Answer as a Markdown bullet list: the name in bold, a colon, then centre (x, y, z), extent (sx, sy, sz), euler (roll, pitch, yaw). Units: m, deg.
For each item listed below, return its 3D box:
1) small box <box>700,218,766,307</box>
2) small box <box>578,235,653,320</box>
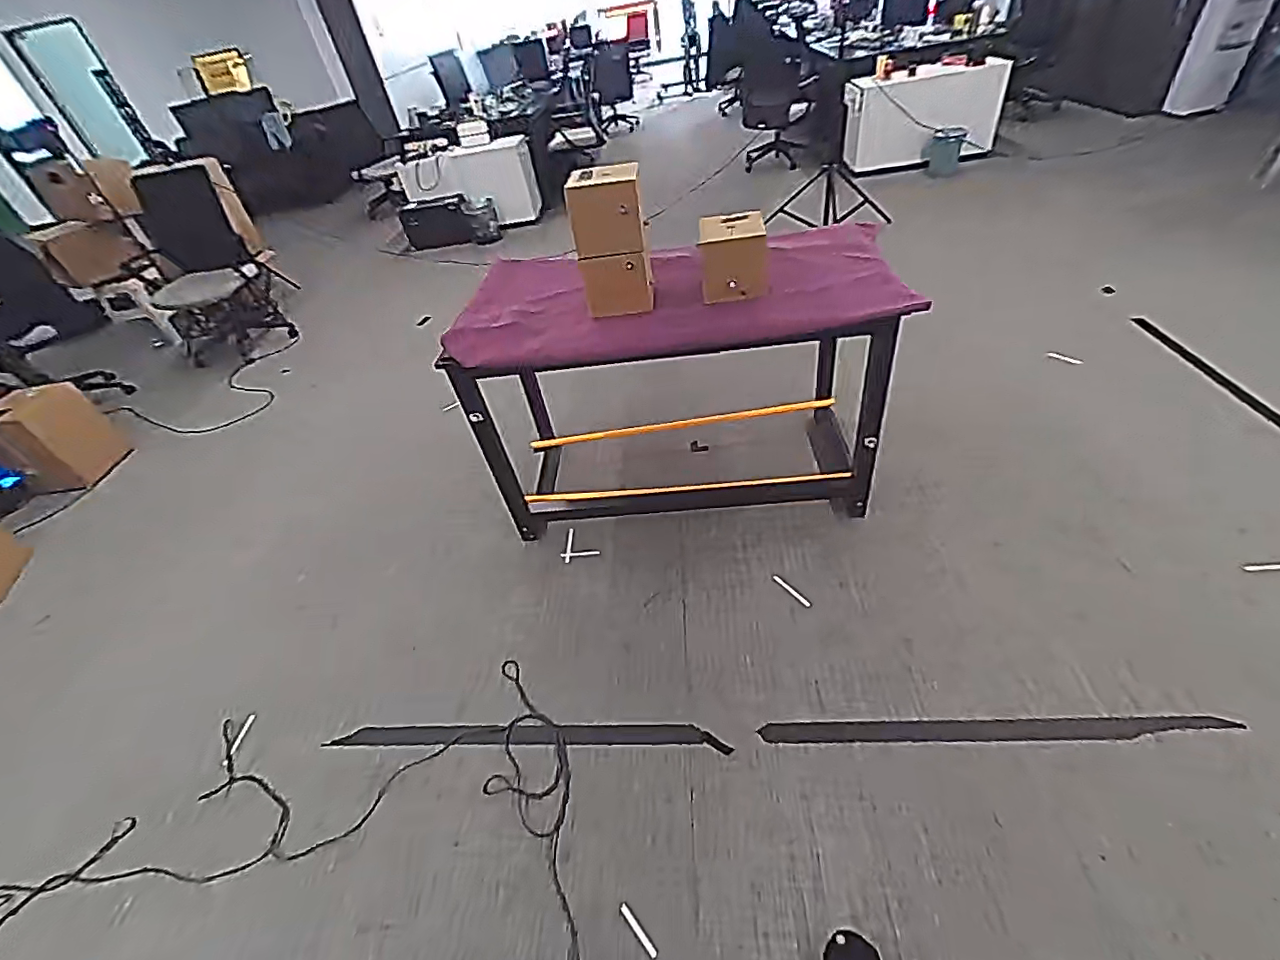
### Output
- **small box**: centre (0.249, -0.587, 1.465), extent (0.168, 0.176, 0.179), euler (-4, 43, 9)
- **small box**: centre (-0.062, -0.559, 1.503), extent (0.179, 0.176, 0.168), euler (-4, 42, 7)
